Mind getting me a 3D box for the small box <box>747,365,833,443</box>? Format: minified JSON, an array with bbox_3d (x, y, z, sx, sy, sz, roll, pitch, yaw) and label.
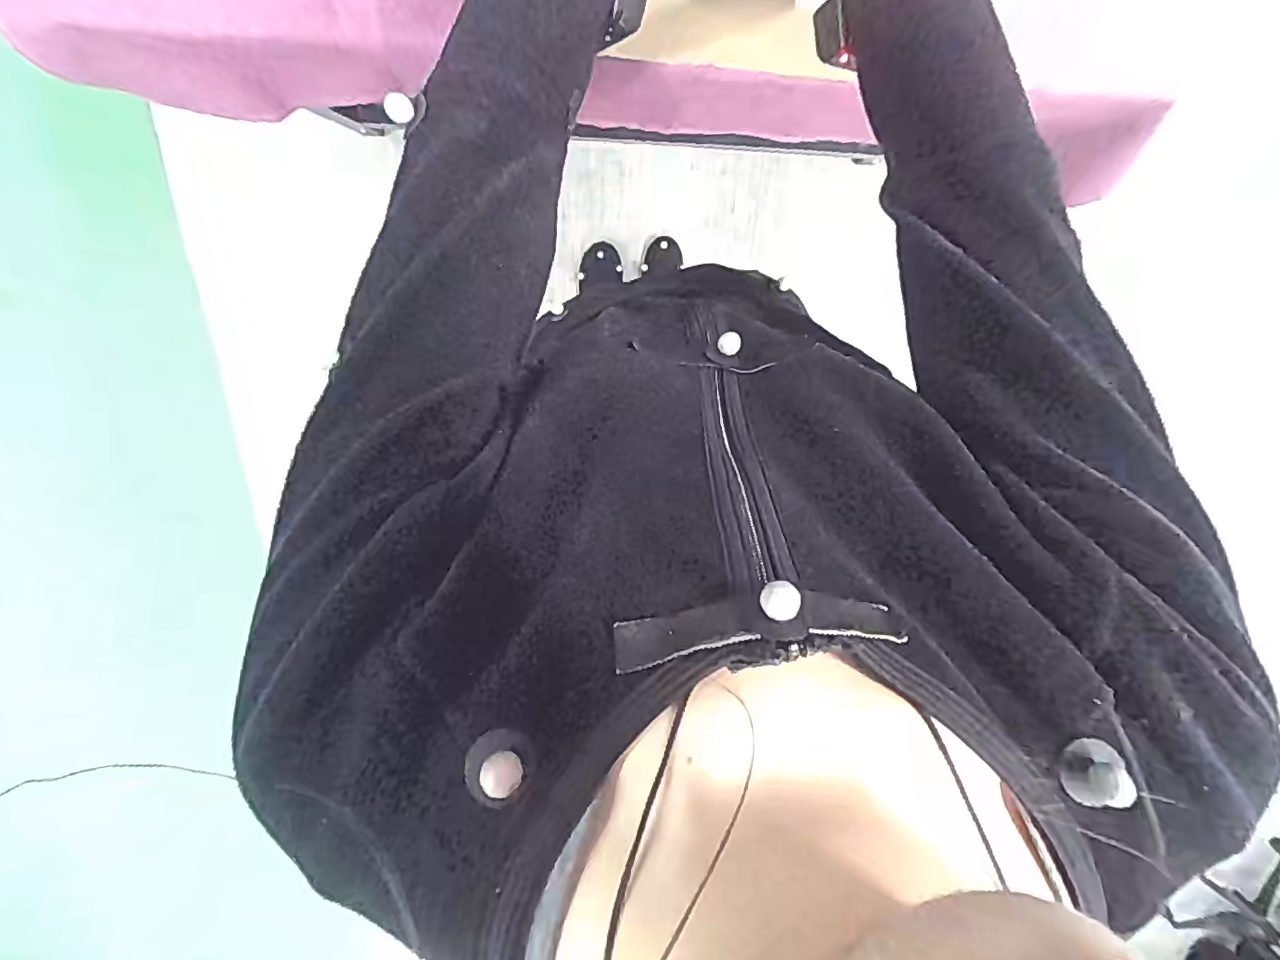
[{"bbox_3d":[0.386,-0.203,1.422,0.179,0.176,0.168,-4,113,-3],"label":"small box"}]
